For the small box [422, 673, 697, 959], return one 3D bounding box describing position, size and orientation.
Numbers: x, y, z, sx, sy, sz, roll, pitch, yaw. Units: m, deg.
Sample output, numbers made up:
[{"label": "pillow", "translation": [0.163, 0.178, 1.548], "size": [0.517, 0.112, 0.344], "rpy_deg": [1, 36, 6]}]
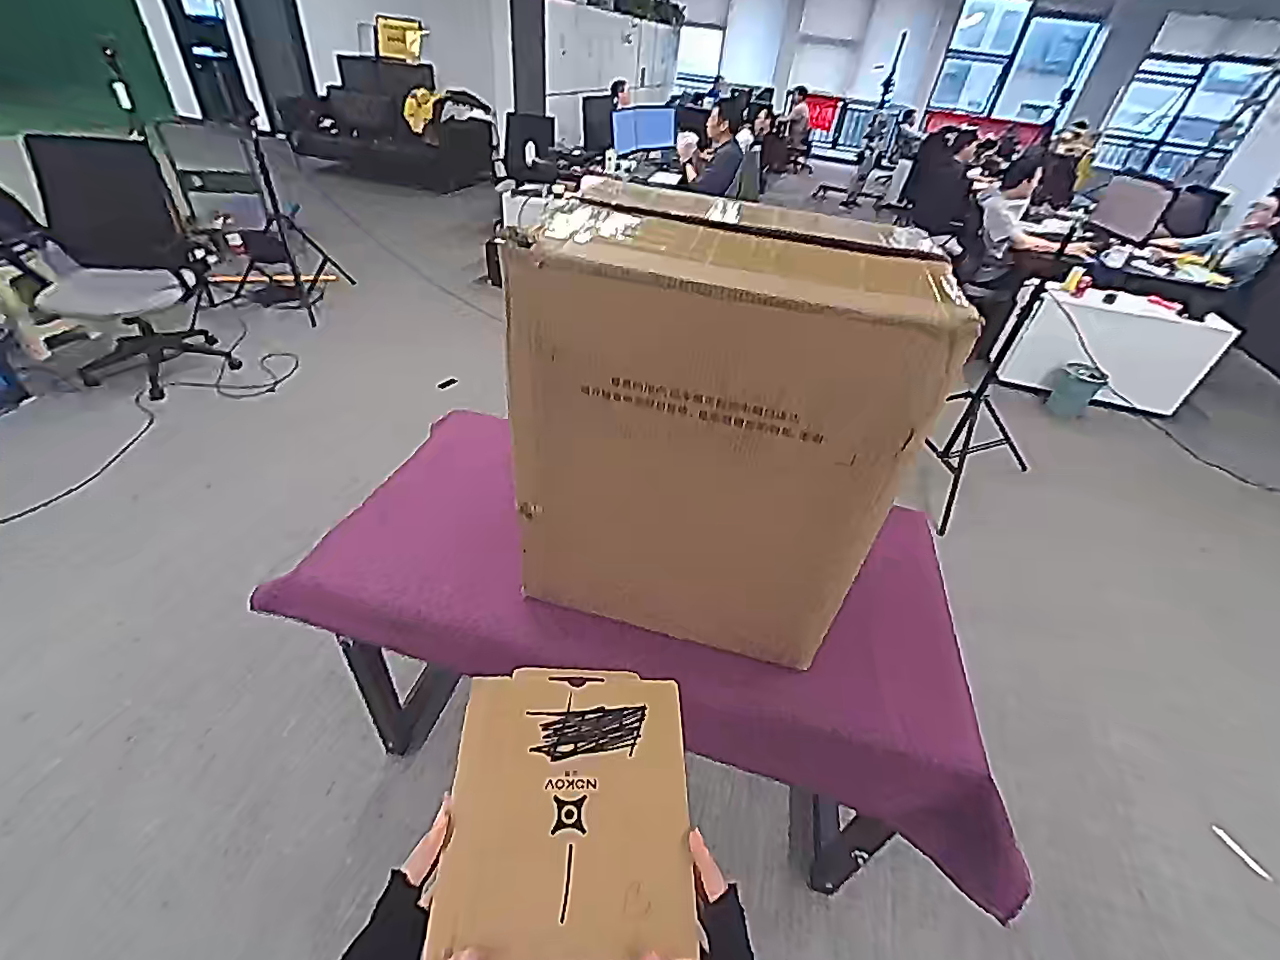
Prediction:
[{"label": "small box", "translation": [-0.058, 0.276, 0.432], "size": [0.168, 0.176, 0.179], "rpy_deg": [3, 46, -6]}]
